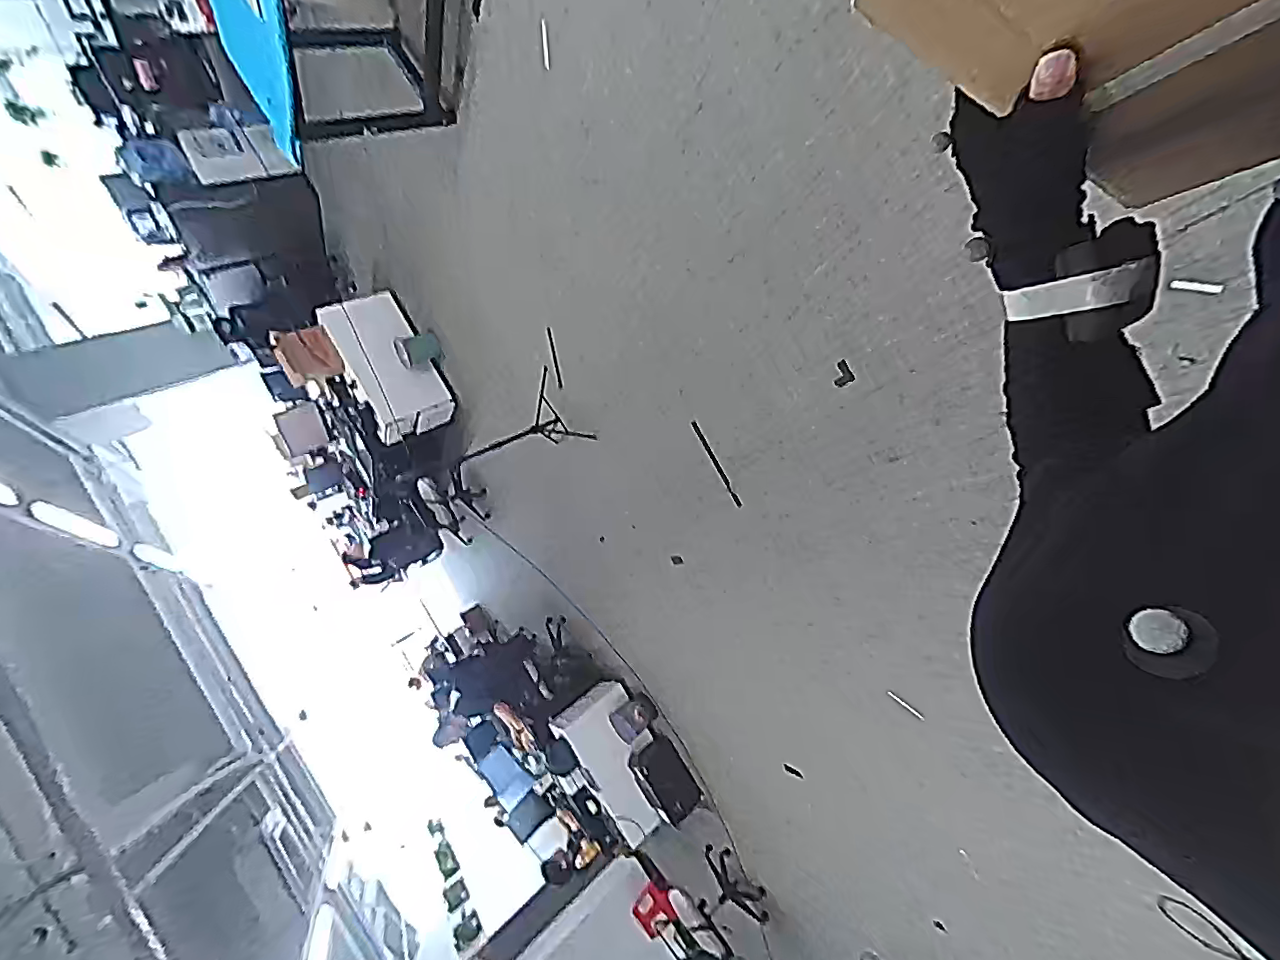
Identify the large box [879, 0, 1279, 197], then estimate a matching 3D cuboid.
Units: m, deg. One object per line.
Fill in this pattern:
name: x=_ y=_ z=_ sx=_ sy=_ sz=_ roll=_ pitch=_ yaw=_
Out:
large box: x=0.337 y=-0.376 z=0.168 sx=0.408 sy=0.320 sz=0.320 roll=-2 pitch=84 yaw=60
